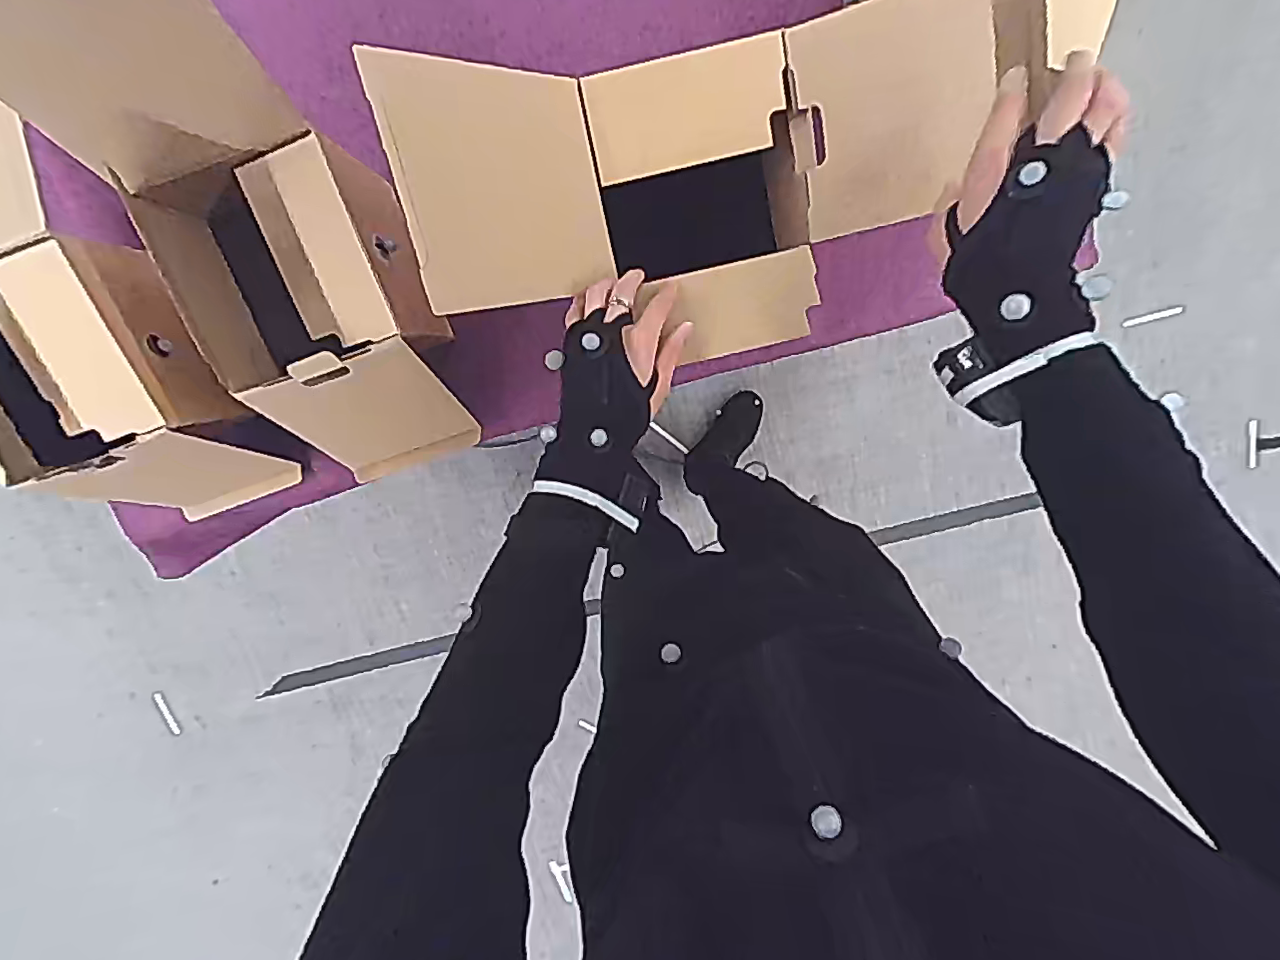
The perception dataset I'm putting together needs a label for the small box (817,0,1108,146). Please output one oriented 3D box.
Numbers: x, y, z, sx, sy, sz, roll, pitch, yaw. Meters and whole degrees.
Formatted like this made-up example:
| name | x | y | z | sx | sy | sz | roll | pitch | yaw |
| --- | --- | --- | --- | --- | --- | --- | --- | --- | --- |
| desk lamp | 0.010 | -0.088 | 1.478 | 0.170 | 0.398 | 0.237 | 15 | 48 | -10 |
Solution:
| name | x | y | z | sx | sy | sz | roll | pitch | yaw |
| --- | --- | --- | --- | --- | --- | --- | --- | --- | --- |
| small box | 0.292 | -0.437 | 0.499 | 0.179 | 0.176 | 0.168 | 10 | 103 | -4 |
